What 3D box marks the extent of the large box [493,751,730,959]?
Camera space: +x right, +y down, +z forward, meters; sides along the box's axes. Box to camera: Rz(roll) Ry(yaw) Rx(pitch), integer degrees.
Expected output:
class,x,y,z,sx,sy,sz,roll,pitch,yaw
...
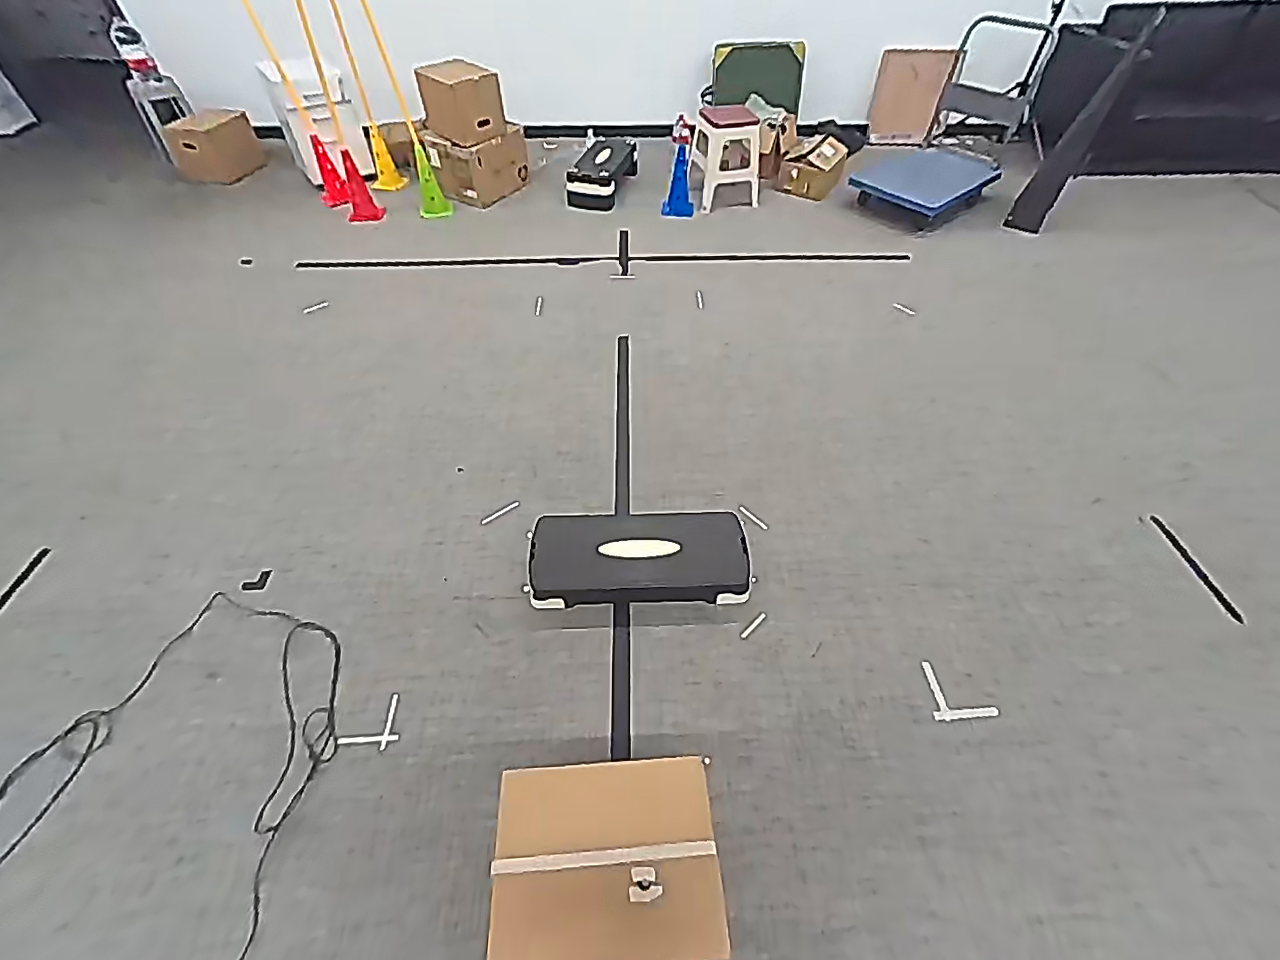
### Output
class,x,y,z,sx,sy,sz,roll,pitch,yaw
large box,-0.062,0.776,1.101,0.408,0.320,0.320,-2,50,-4
